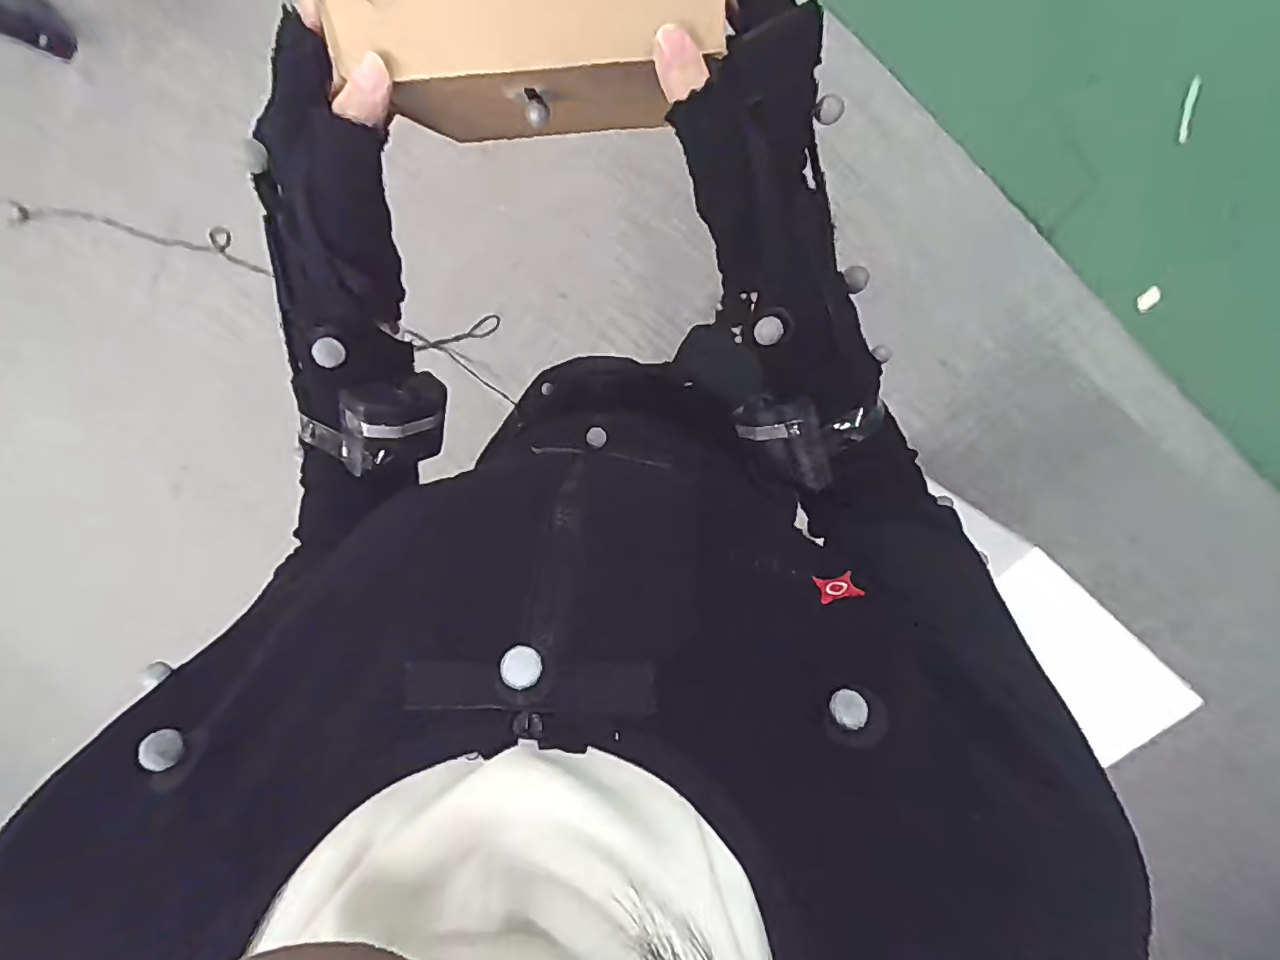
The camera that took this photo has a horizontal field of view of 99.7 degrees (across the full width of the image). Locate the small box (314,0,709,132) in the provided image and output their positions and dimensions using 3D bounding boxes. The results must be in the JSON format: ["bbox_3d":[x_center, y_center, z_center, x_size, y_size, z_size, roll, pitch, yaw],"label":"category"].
[{"bbox_3d":[-0.059,-0.298,0.283,0.179,0.176,0.168,-4,114,3],"label":"small box"}]
